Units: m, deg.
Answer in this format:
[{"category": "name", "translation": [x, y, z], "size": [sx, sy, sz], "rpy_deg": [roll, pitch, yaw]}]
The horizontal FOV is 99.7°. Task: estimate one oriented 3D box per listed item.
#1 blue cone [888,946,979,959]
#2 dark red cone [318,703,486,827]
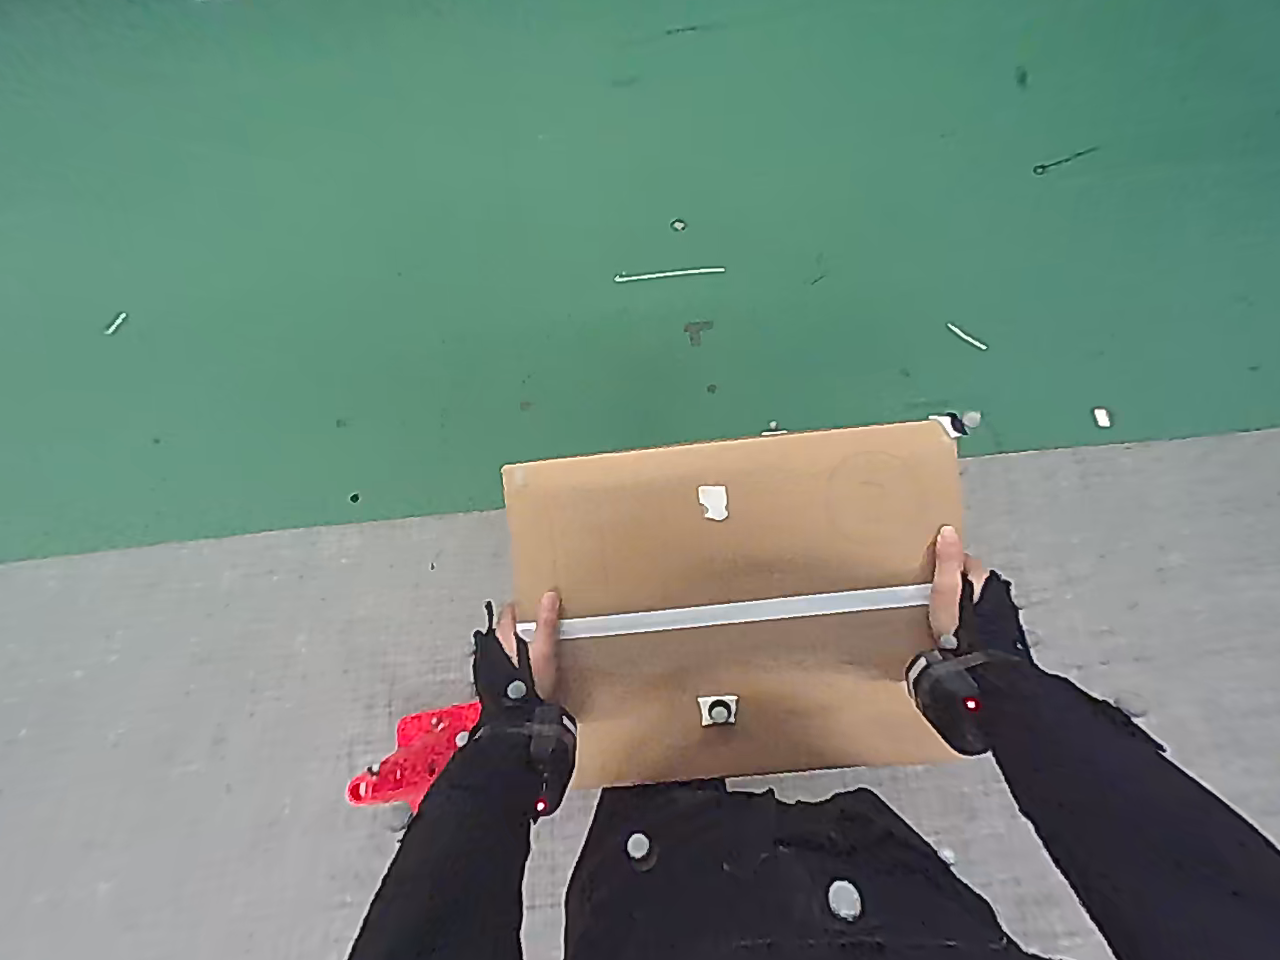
[{"category": "blue cone", "translation": [0.527, 0.892, 0.801], "size": [0.192, 0.380, 0.193], "rpy_deg": [-6, 70, 1]}, {"category": "dark red cone", "translation": [-0.429, 0.516, 0.958], "size": [0.202, 0.394, 0.201], "rpy_deg": [-13, 67, -1]}]
